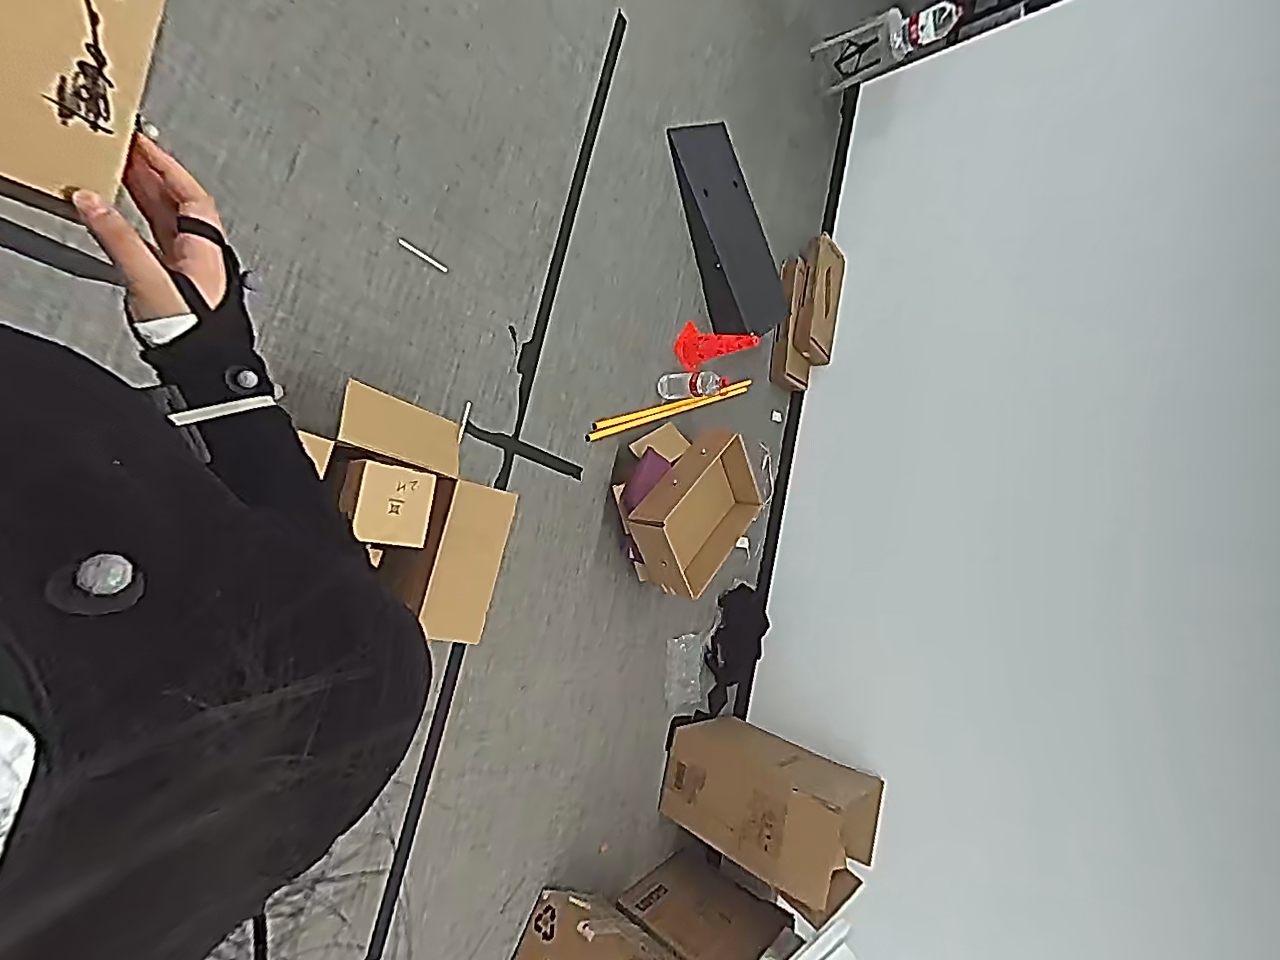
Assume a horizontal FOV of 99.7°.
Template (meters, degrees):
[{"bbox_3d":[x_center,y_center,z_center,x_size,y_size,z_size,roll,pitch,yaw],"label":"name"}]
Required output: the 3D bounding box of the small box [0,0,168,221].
[{"bbox_3d":[-0.424,-0.275,0.325,0.179,0.176,0.168,14,94,-50],"label":"small box"}]
